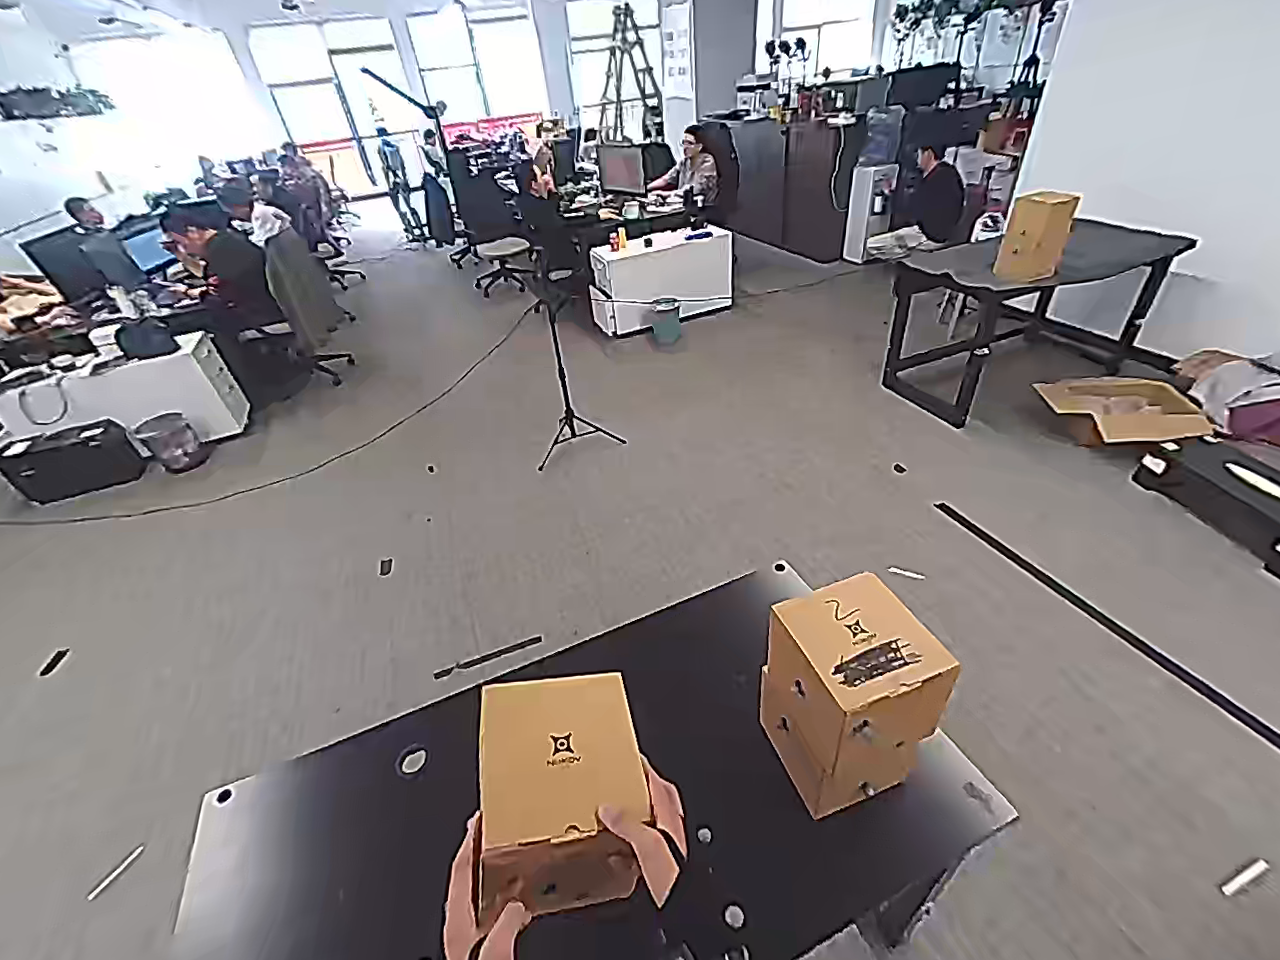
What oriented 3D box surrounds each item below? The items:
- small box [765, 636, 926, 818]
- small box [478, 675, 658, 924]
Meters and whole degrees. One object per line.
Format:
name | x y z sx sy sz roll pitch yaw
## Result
small box | 0.308 0.387 0.854 0.168 0.176 0.179 -16 38 -10
small box | -0.093 0.349 0.607 0.168 0.176 0.179 1 34 -17
